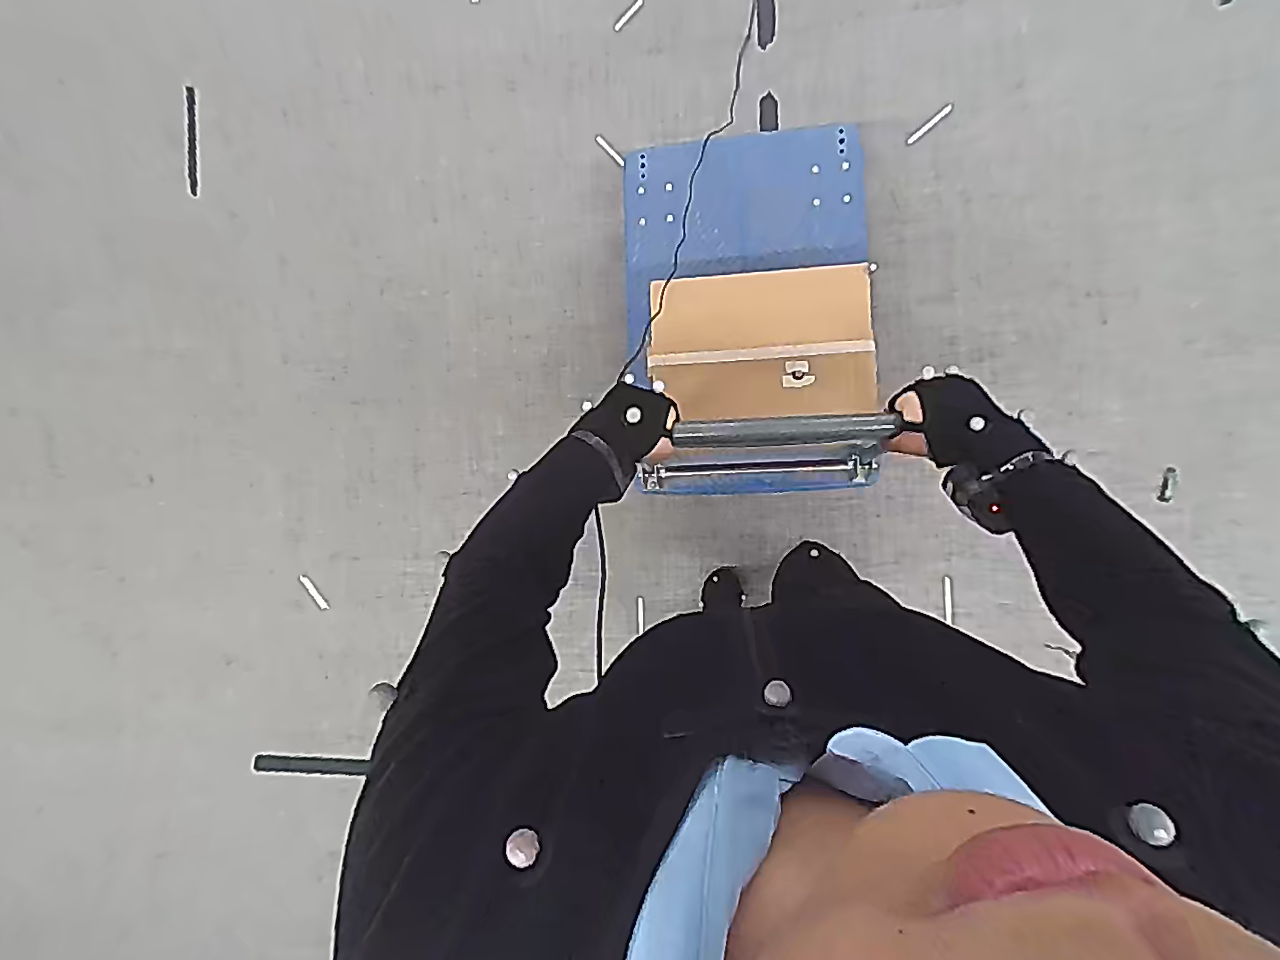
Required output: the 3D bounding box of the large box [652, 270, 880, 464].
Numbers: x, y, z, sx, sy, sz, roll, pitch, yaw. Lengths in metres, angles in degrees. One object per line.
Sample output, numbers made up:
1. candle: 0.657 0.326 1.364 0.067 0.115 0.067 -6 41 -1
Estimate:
1. large box: 0.244 -0.210 1.142 0.408 0.320 0.320 -2 87 7
